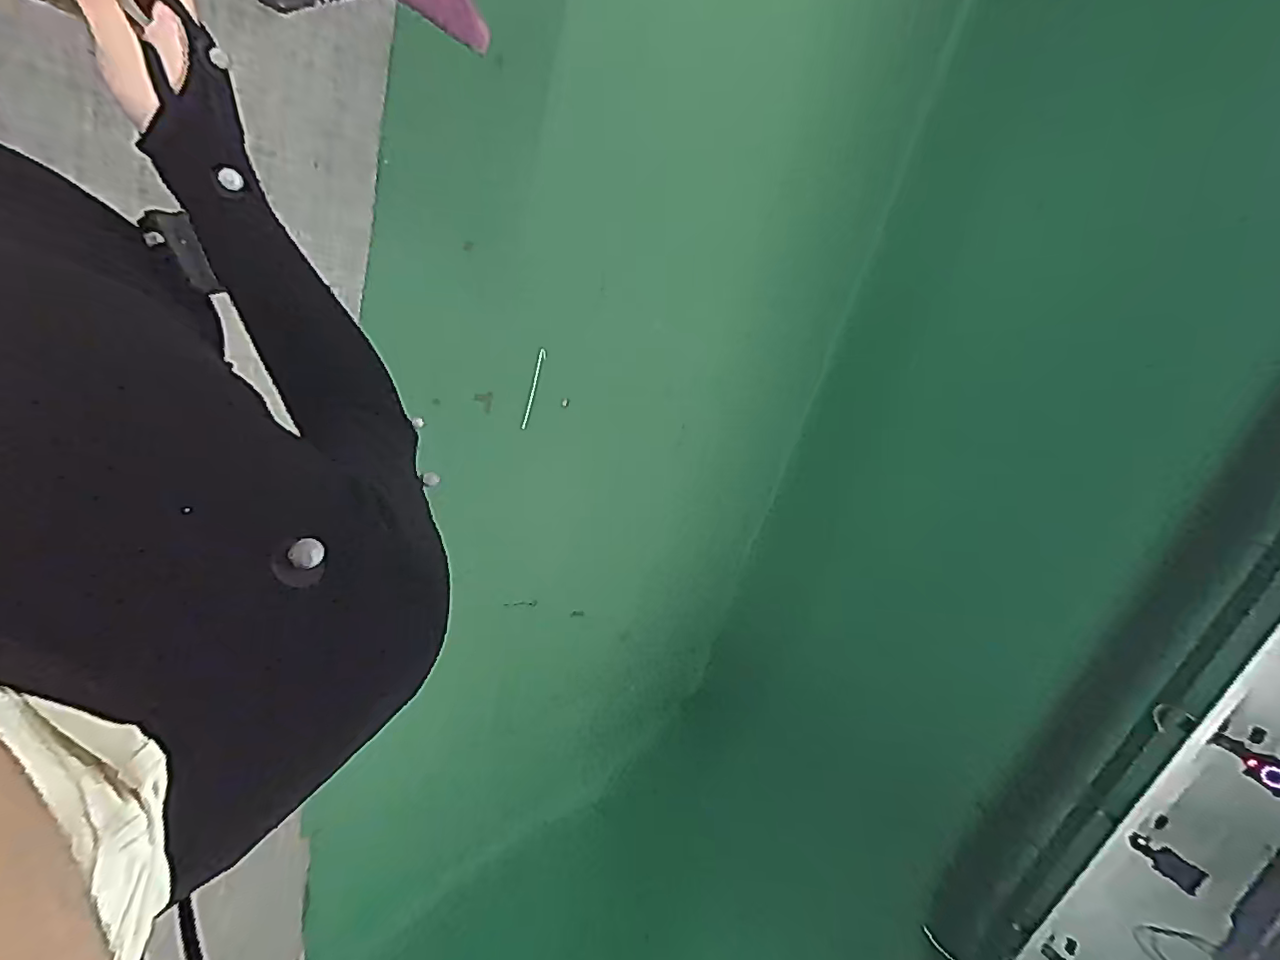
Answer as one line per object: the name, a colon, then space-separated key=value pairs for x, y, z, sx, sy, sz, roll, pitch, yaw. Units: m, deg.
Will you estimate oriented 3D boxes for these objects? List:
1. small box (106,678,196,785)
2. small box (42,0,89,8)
small box: x=-1.365 y=0.693 z=1.509 sx=0.168 sy=0.176 sz=0.179 roll=-5 pitch=119 yaw=-50
small box: x=-0.451 y=-0.444 z=0.331 sx=0.168 sy=0.176 sz=0.179 roll=0 pitch=114 yaw=-47
